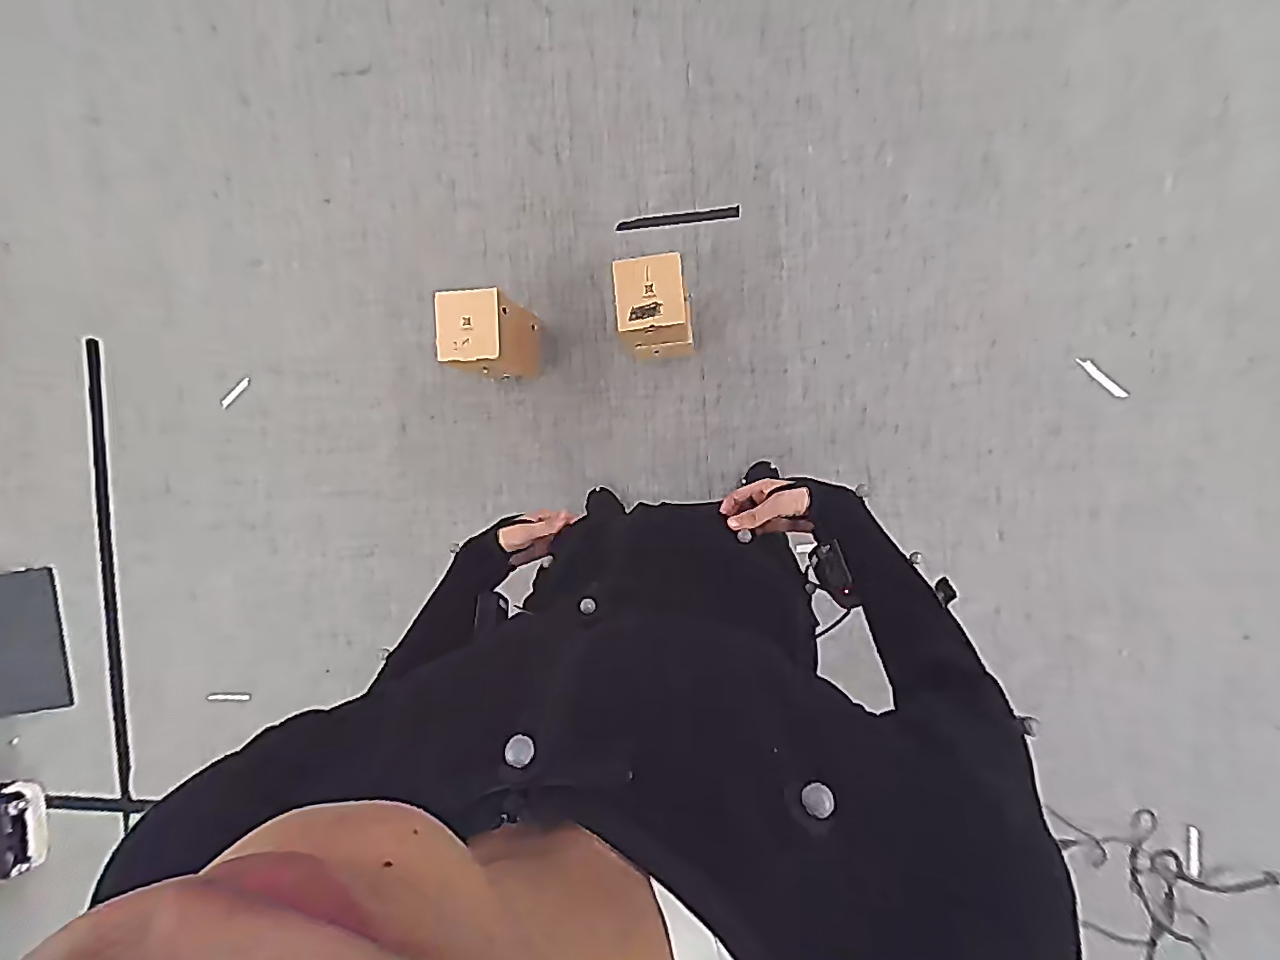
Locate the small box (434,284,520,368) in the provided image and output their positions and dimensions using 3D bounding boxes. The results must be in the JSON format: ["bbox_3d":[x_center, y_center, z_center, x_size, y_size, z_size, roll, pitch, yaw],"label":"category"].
[{"bbox_3d":[-0.420,-0.395,1.410,0.168,0.176,0.179,-1,92,8],"label":"small box"}]

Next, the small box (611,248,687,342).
[{"bbox_3d":[0.028,-0.453,1.357,0.168,0.176,0.179,-5,90,7],"label":"small box"}]

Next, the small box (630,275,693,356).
[{"bbox_3d":[0.058,-0.452,1.519,0.168,0.176,0.179,-5,90,7],"label":"small box"}]

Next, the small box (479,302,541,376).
[{"bbox_3d":[-0.392,-0.404,1.572,0.168,0.176,0.179,0,91,8],"label":"small box"}]
